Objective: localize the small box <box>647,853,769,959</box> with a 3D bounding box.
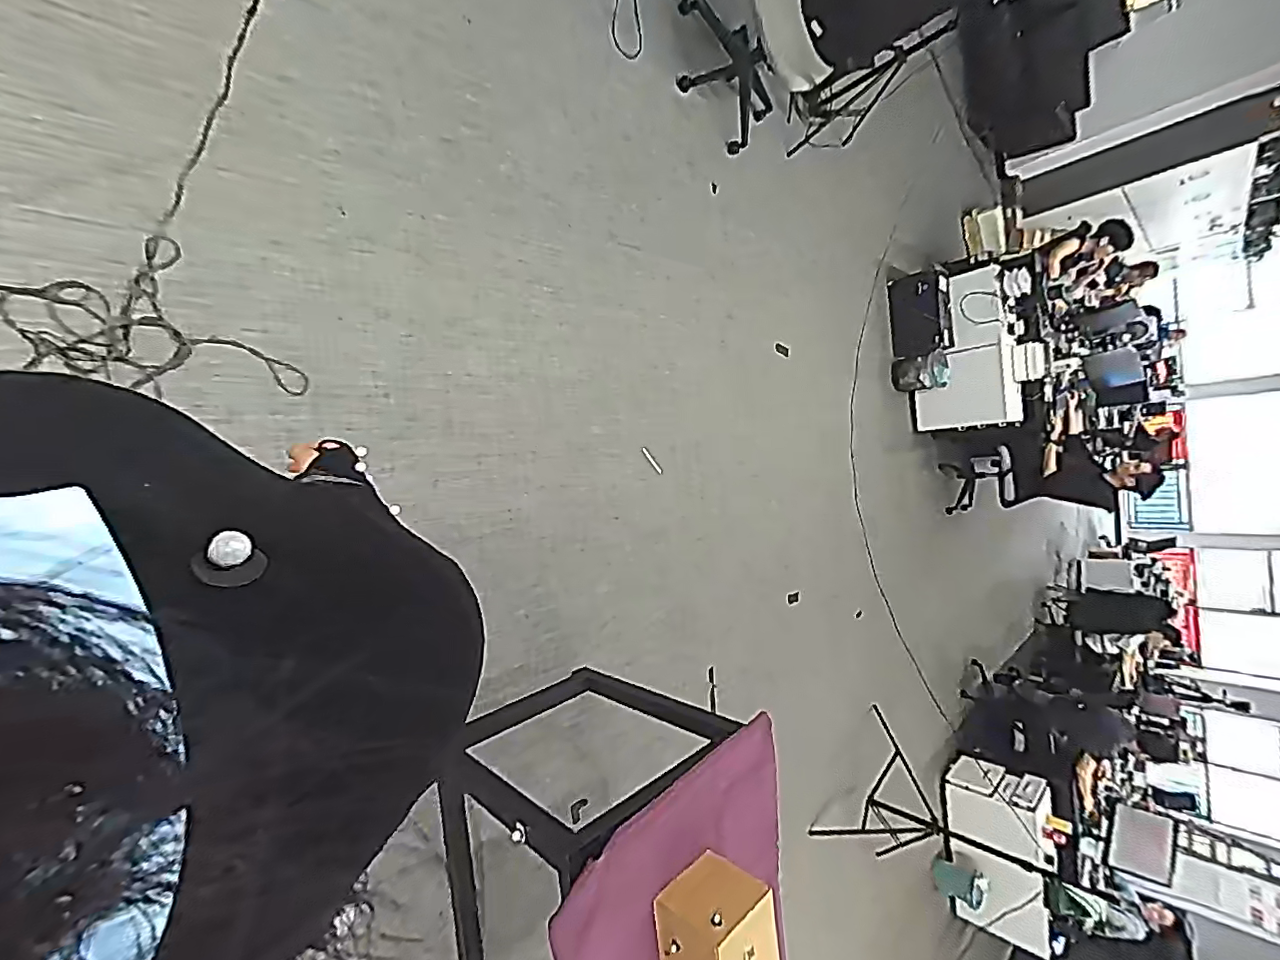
[{"bbox_3d":[0.137,0.911,1.095,0.179,0.176,0.168,-10,96,-42],"label":"small box"}]
